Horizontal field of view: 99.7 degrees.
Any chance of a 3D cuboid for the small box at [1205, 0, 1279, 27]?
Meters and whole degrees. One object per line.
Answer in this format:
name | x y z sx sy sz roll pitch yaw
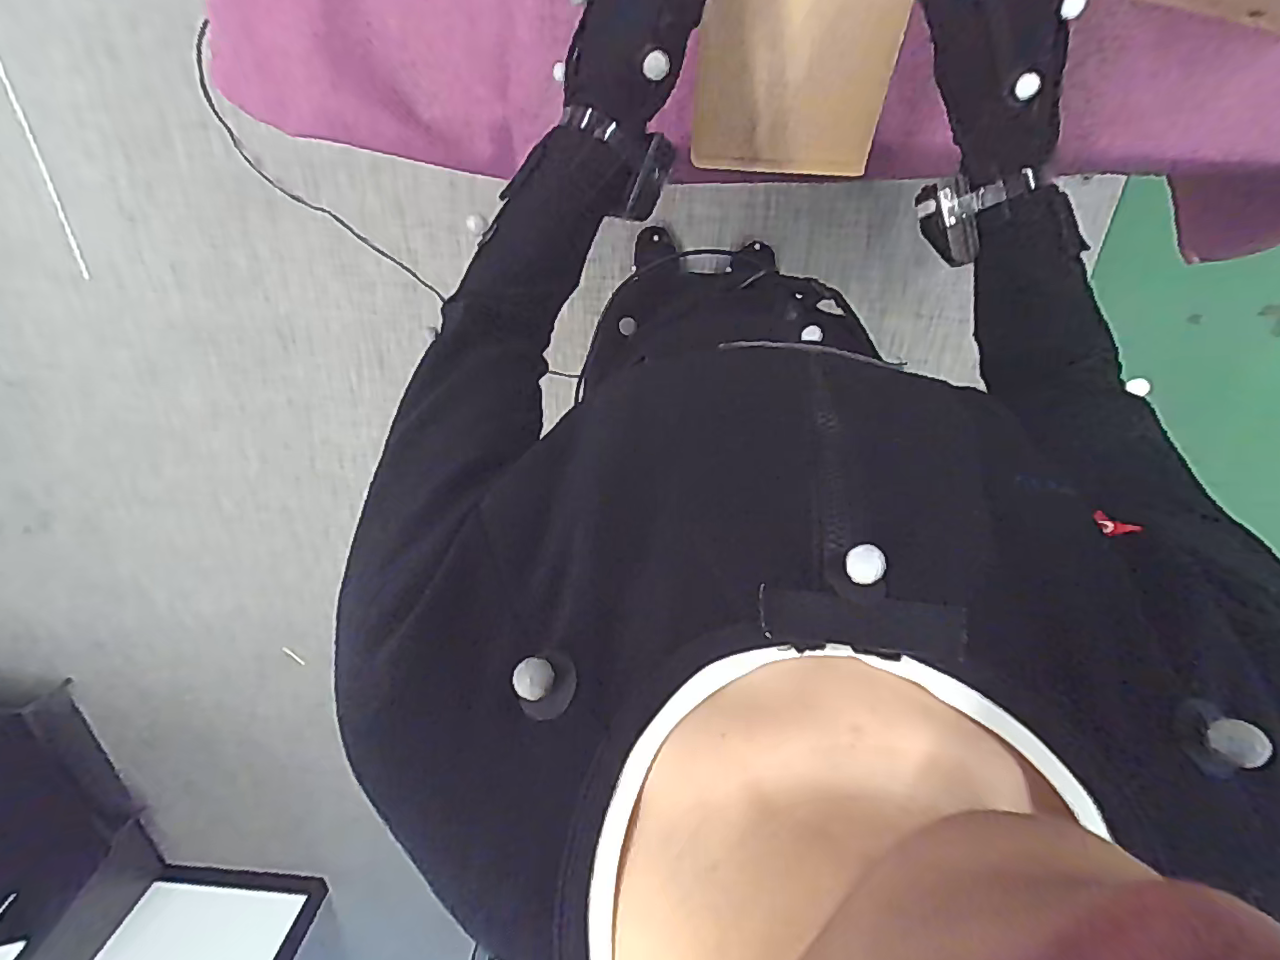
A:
small box | 0.542 -0.472 0.392 0.168 0.176 0.179 13 116 -2
